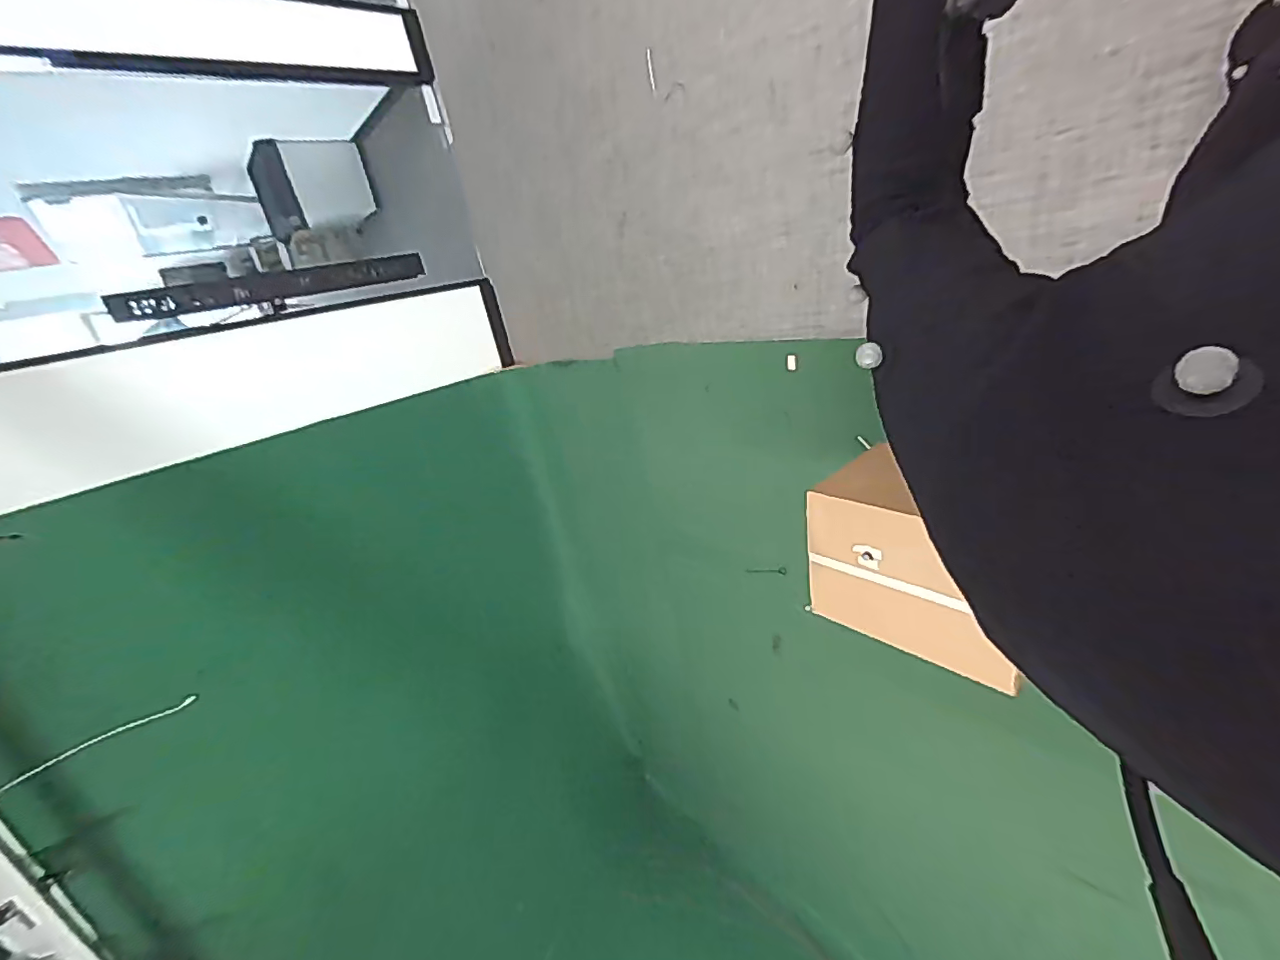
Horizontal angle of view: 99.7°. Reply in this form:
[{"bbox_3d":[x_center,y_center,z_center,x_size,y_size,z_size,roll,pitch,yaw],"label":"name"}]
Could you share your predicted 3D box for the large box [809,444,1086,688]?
[{"bbox_3d":[0.613,0.138,1.114,0.408,0.320,0.320,17,123,48],"label":"large box"}]
